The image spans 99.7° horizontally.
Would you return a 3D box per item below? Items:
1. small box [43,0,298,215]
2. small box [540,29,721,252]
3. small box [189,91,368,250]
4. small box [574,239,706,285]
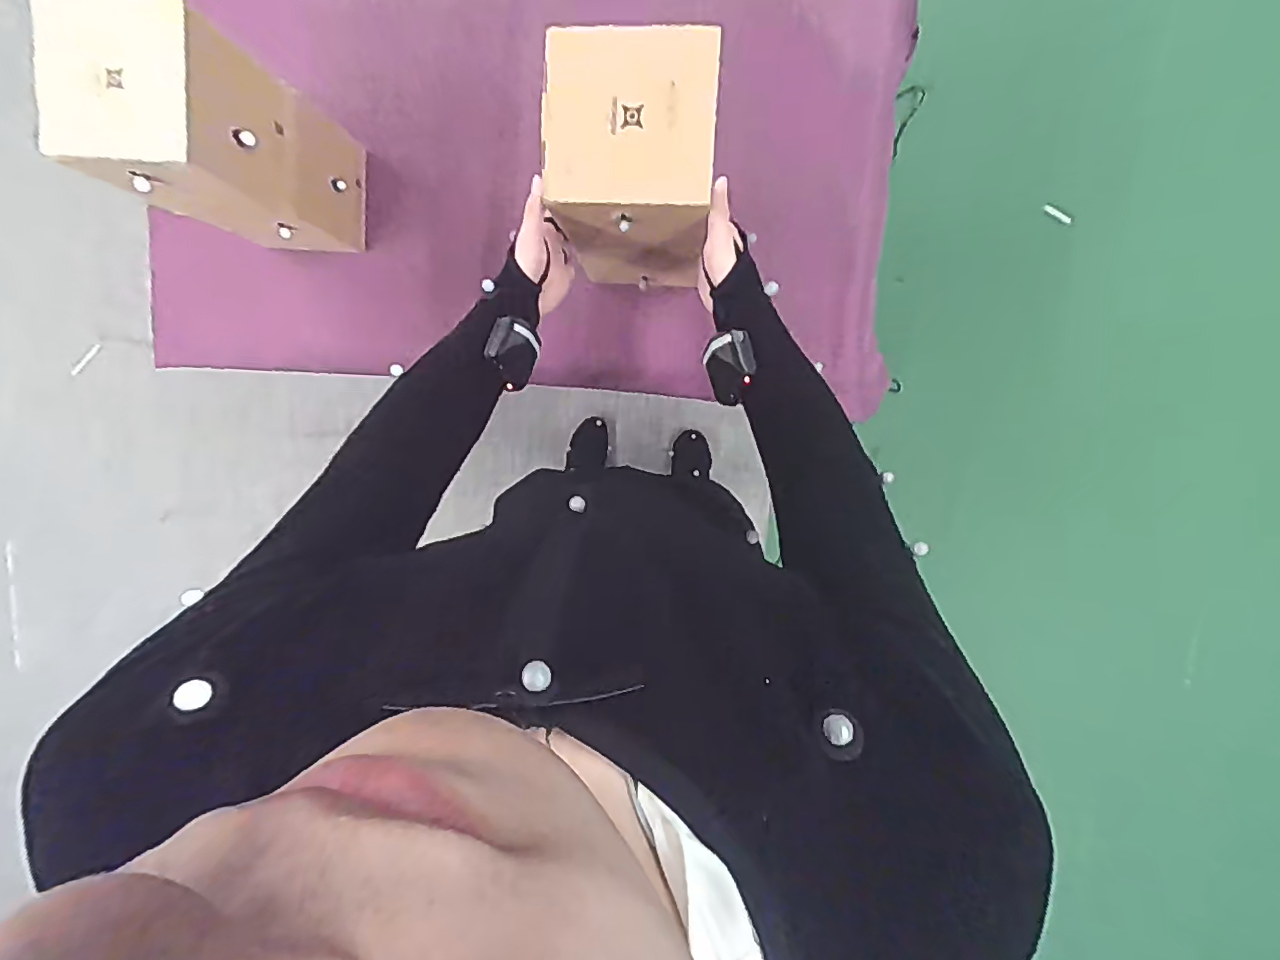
[{"bbox_3d":[-0.554,-0.442,0.665,0.179,0.176,0.168,5,97,5],"label":"small box"},{"bbox_3d":[-0.004,-0.372,0.623,0.179,0.176,0.168,4,98,5],"label":"small box"},{"bbox_3d":[-0.541,-0.463,0.825,0.179,0.176,0.168,5,96,4],"label":"small box"},{"bbox_3d":[0.008,-0.389,0.786,0.179,0.176,0.168,3,96,4],"label":"small box"}]
